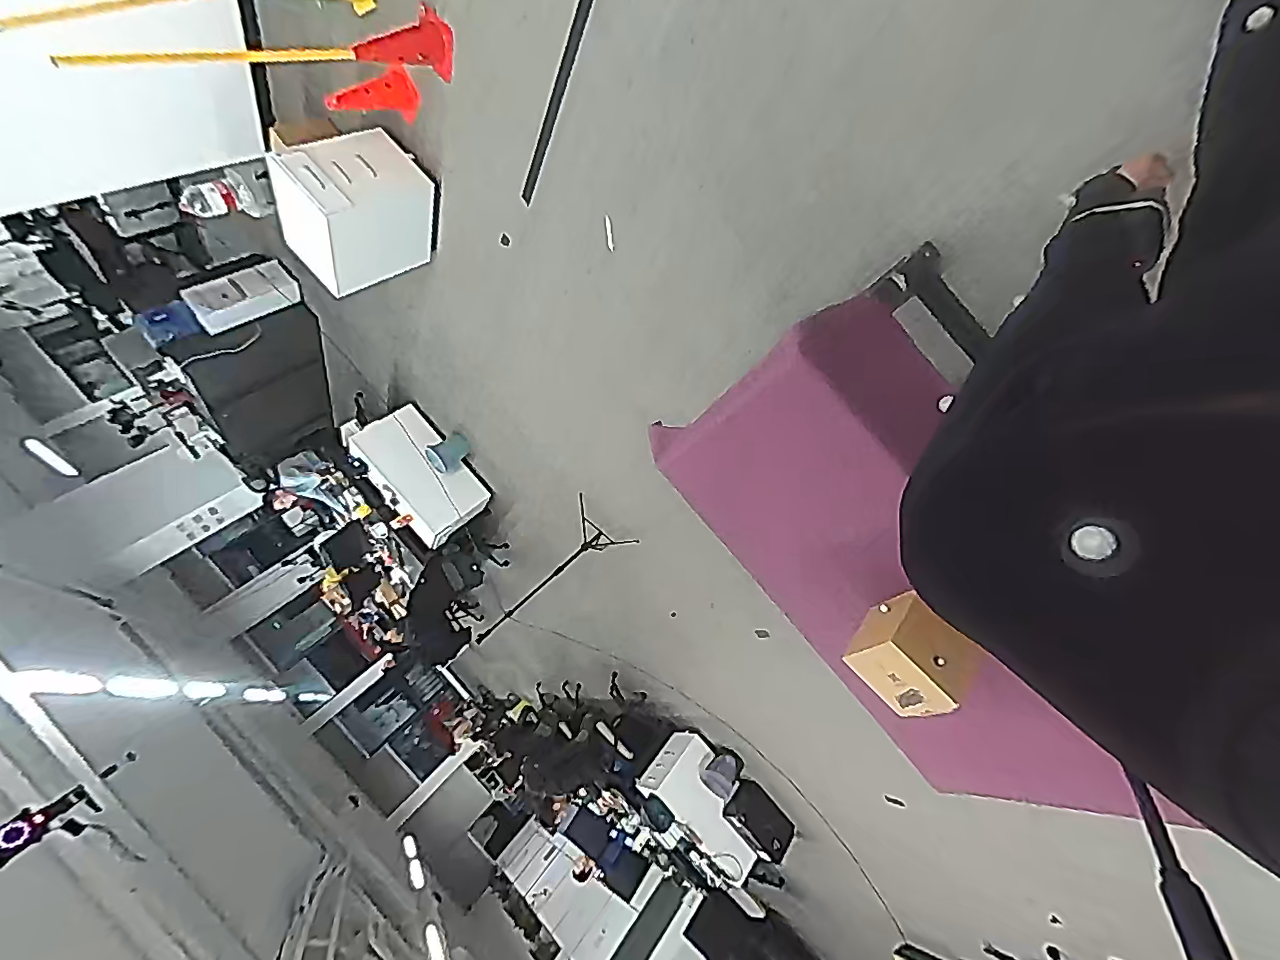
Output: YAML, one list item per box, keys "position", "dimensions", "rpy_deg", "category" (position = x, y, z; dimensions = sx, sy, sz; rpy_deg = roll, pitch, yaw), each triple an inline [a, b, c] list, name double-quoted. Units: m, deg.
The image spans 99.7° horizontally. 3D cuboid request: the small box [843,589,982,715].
- position: [0.581, 0.365, 1.150]
  dimensions: [0.179, 0.176, 0.168]
  rpy_deg: [44, 147, 8]
  category: "small box"
